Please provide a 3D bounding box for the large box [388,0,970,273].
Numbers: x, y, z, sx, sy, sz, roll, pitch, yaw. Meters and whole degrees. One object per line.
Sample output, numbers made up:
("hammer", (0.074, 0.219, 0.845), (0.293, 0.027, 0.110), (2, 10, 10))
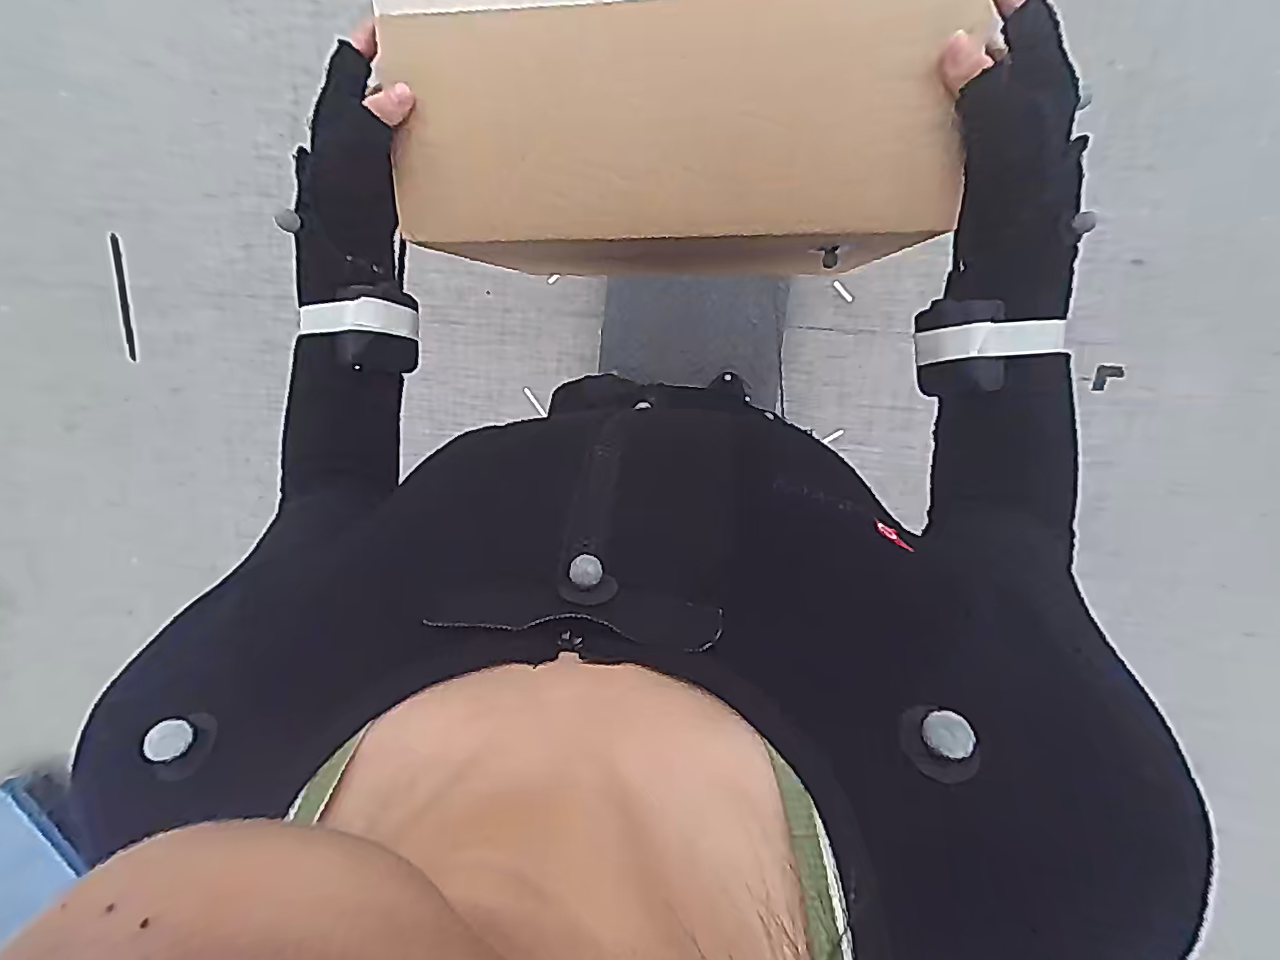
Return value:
("large box", (0.035, -0.370, 0.506), (0.408, 0.320, 0.320), (2, 106, 6))
